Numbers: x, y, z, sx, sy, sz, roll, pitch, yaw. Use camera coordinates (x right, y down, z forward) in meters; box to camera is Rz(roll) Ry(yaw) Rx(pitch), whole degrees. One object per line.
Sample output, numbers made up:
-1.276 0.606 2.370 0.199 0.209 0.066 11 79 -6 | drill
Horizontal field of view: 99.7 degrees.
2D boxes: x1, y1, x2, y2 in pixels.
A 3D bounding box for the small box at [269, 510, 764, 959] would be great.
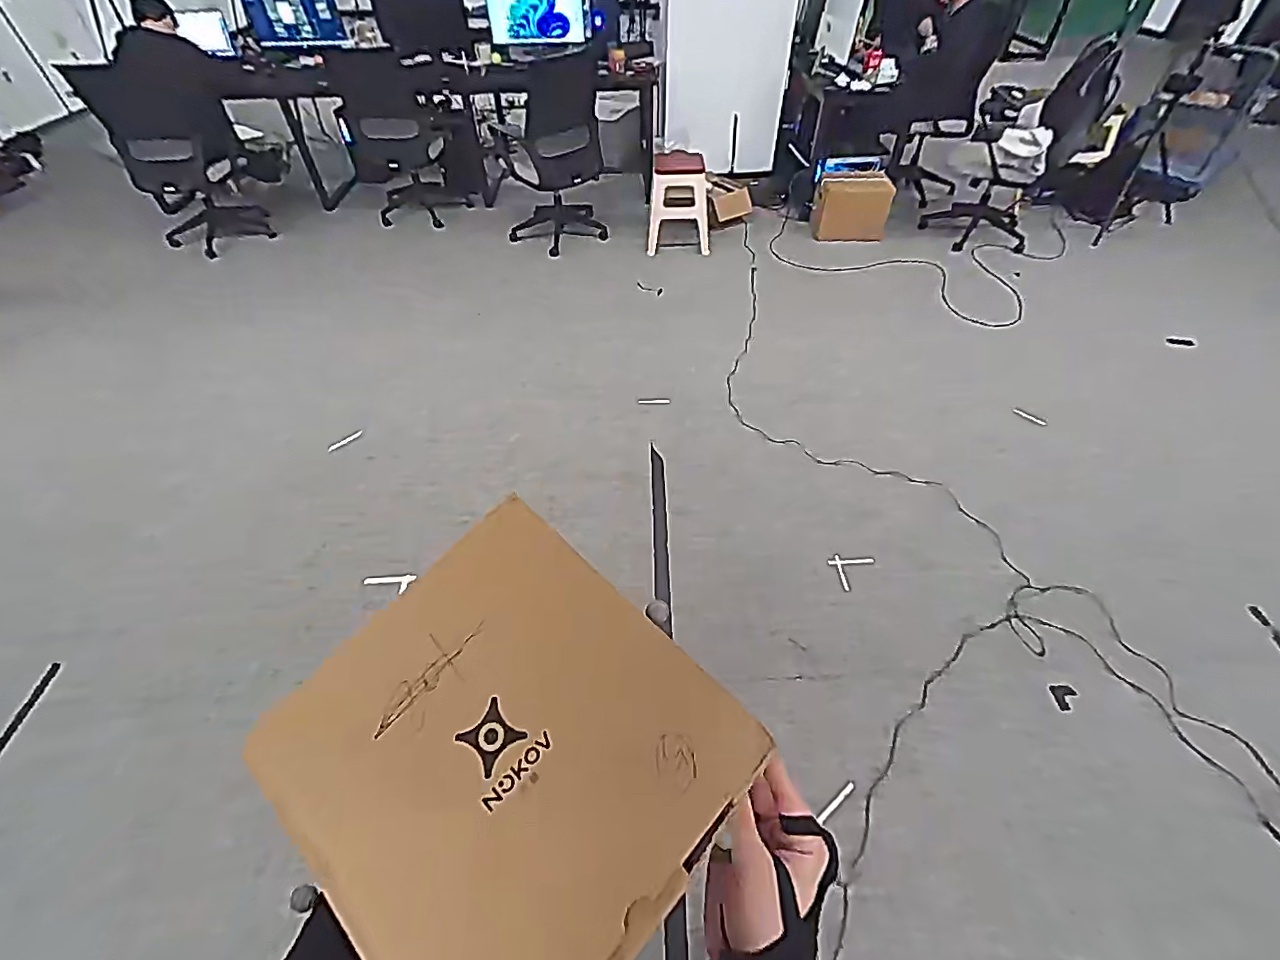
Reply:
-0.052 0.154 0.316 0.179 0.176 0.168 38 72 23 | small box
